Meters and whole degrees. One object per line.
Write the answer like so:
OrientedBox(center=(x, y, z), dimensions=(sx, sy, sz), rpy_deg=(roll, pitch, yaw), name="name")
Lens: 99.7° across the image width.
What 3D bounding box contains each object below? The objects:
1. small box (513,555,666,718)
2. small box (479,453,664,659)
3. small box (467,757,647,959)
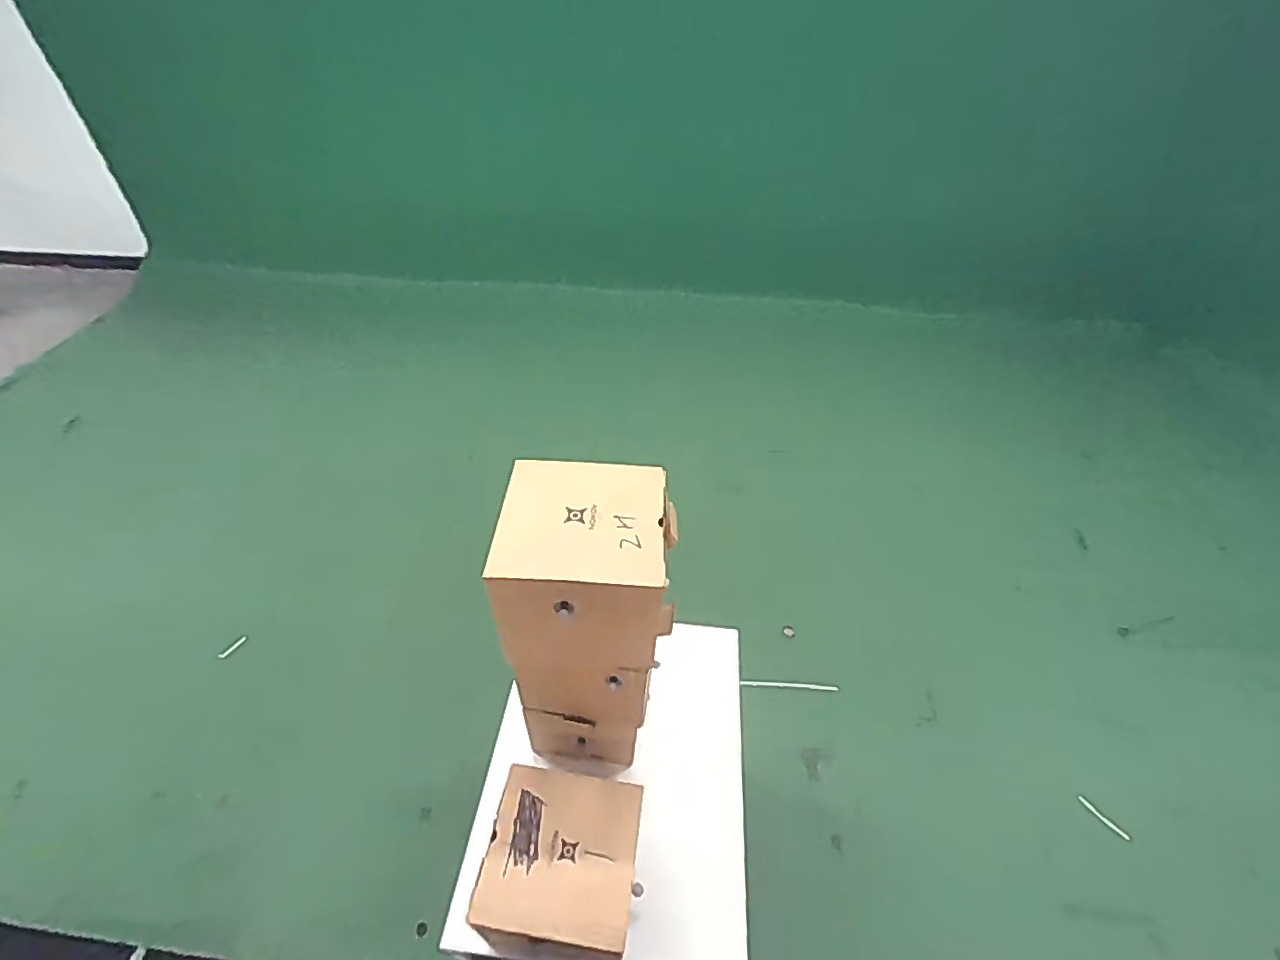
OrientedBox(center=(-0.067, 0.201, 0.734), dimensions=(0.179, 0.176, 0.168), rpy_deg=(9, 45, 4), name="small box")
OrientedBox(center=(-0.065, 0.088, 0.614), dimensions=(0.179, 0.176, 0.168), rpy_deg=(3, 46, -1), name="small box")
OrientedBox(center=(-0.093, 0.478, 0.681), dimensions=(0.179, 0.176, 0.168), rpy_deg=(9, 43, 4), name="small box")
